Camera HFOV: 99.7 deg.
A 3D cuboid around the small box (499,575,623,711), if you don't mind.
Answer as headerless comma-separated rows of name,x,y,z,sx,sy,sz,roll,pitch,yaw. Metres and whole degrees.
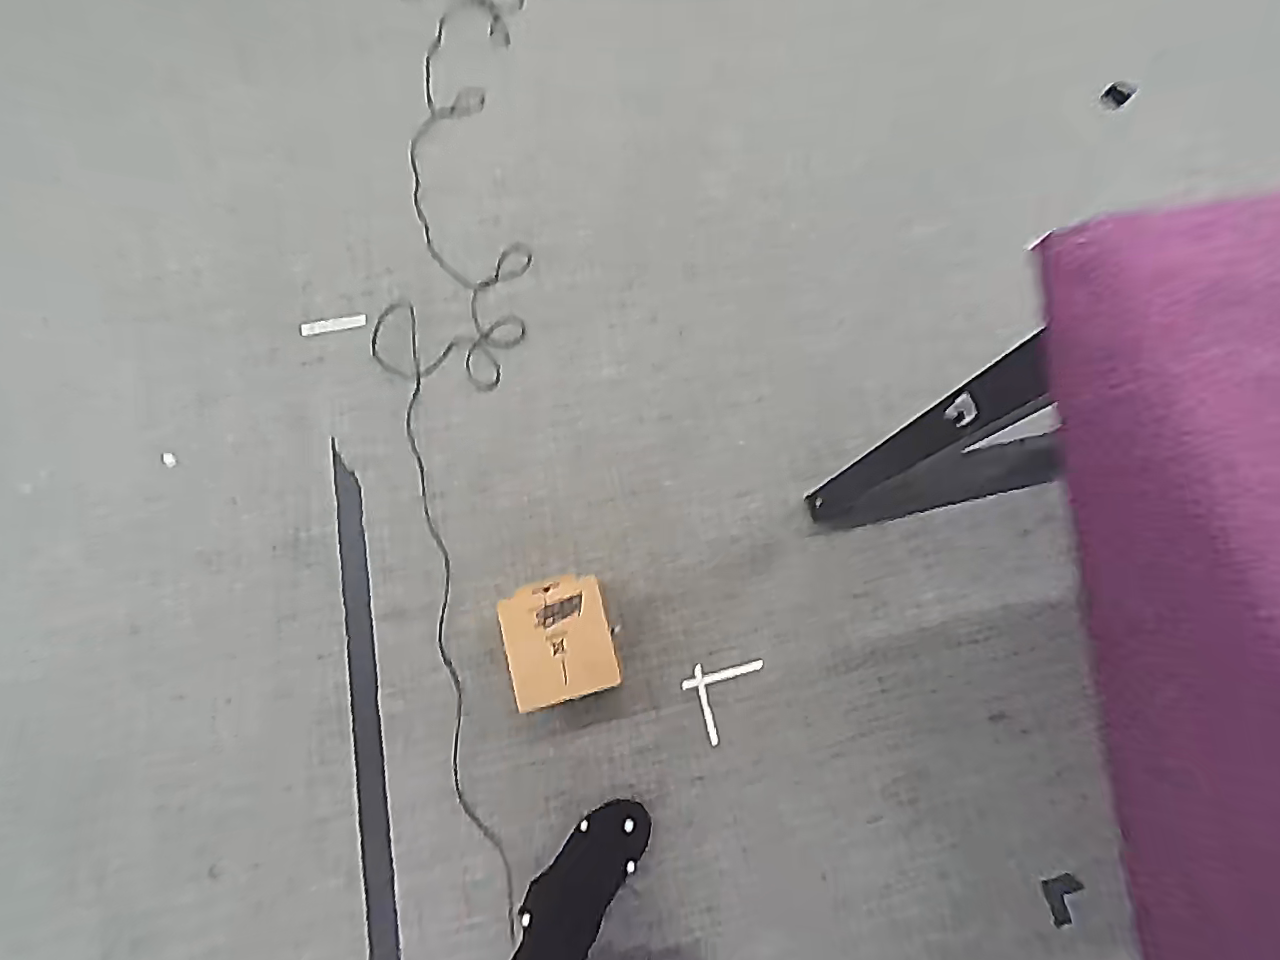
small box,-0.129,0.274,0.924,0.168,0.176,0.179,-15,76,-5
